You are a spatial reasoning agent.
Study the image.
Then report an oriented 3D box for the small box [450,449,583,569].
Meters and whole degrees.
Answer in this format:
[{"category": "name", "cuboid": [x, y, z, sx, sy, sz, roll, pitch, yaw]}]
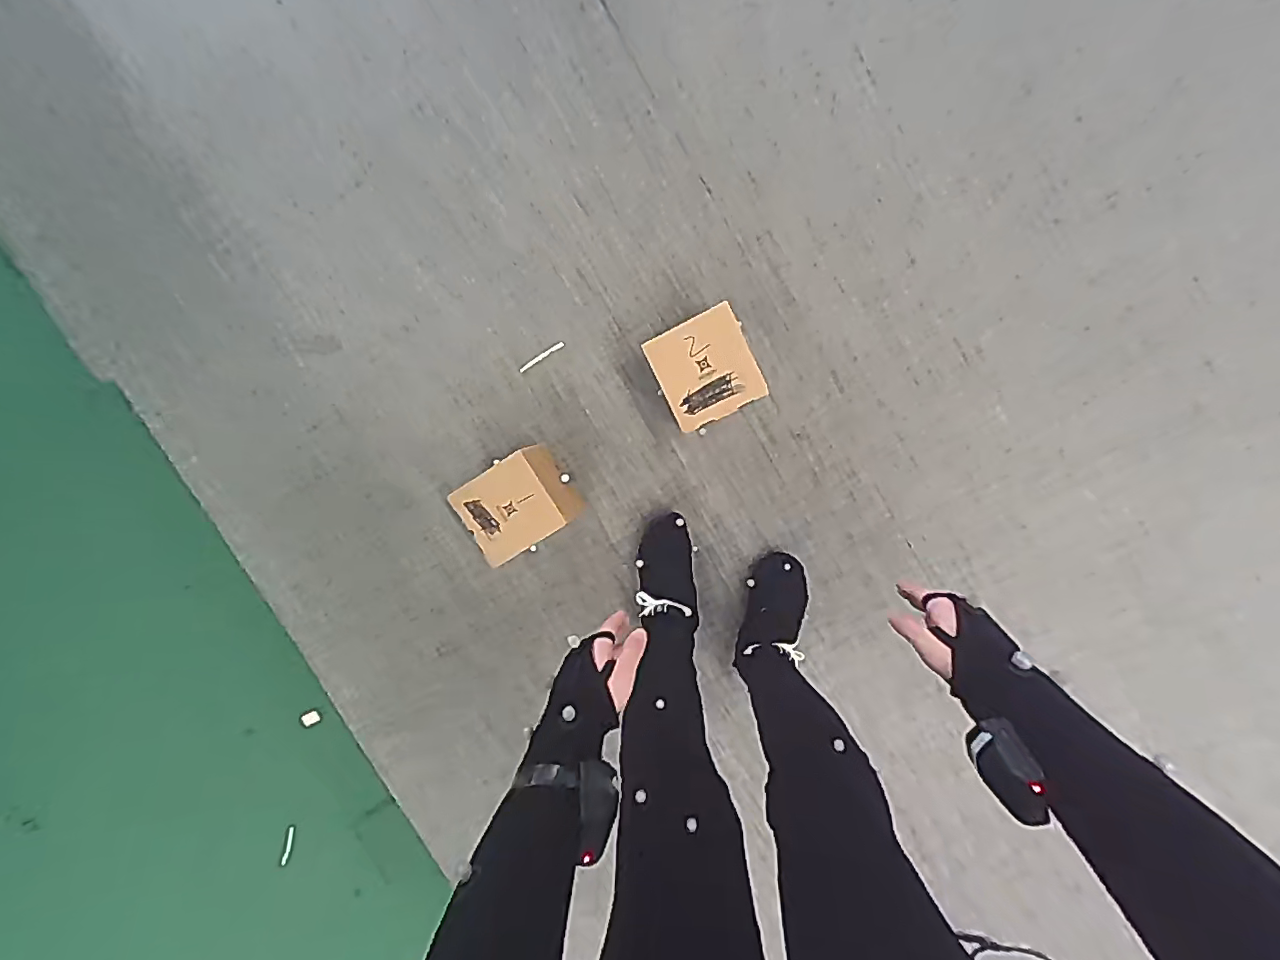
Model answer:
[{"category": "small box", "cuboid": [-0.237, 0.051, 1.088, 0.179, 0.176, 0.168, -31, 94, 8]}]
